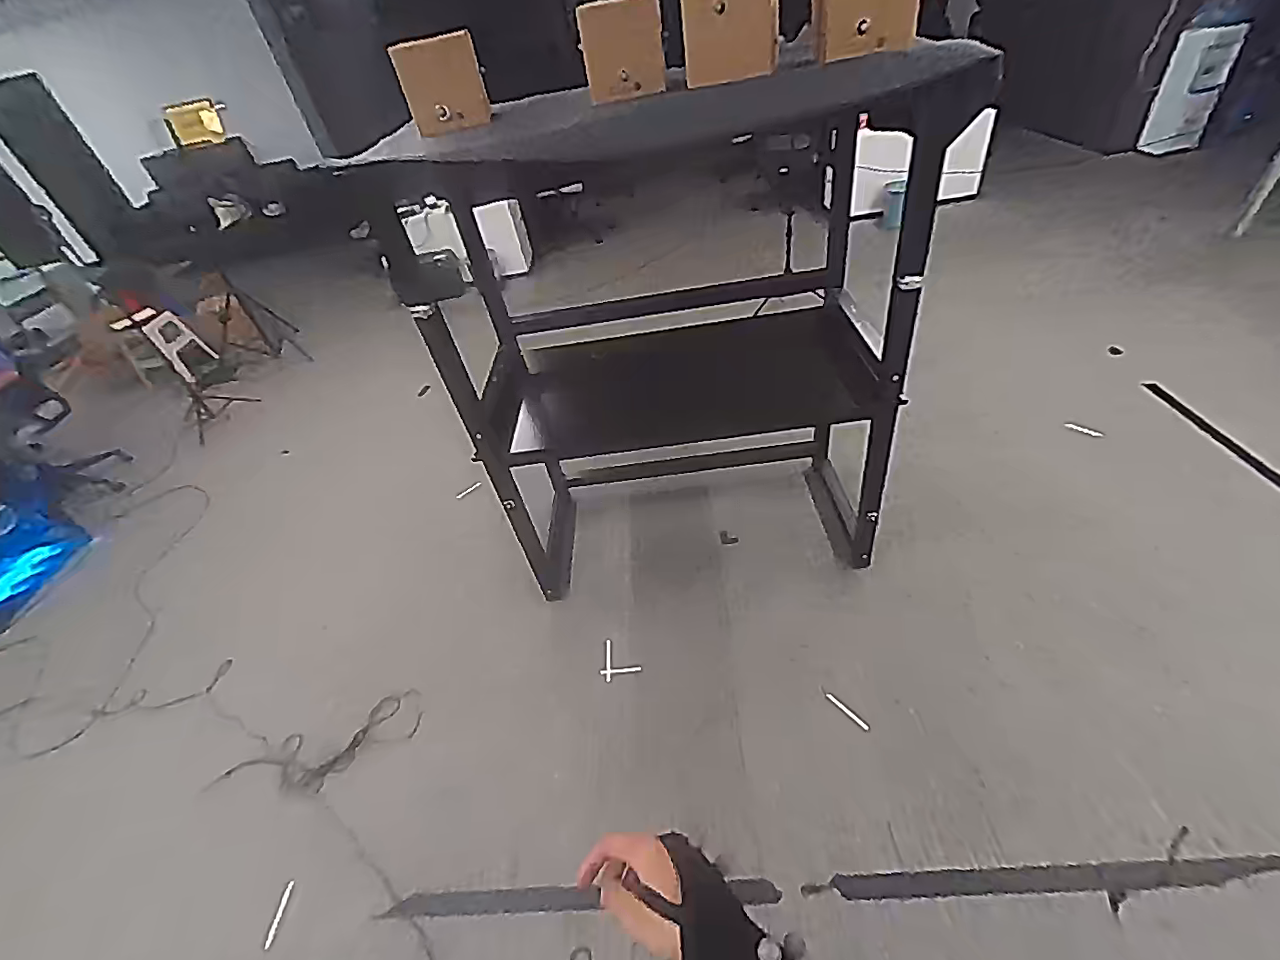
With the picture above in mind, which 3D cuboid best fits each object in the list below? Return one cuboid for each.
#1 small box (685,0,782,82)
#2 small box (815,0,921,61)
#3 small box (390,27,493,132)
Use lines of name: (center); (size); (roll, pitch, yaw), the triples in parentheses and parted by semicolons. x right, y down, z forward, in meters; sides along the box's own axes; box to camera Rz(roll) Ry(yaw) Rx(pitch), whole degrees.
small box: (0.196, -0.941, 1.113); (0.179, 0.176, 0.168); (4, 44, 17)
small box: (0.439, -0.936, 1.050); (0.168, 0.176, 0.179); (-4, 42, 10)
small box: (-0.449, -0.926, 1.252); (0.168, 0.176, 0.179); (-14, 42, -1)
